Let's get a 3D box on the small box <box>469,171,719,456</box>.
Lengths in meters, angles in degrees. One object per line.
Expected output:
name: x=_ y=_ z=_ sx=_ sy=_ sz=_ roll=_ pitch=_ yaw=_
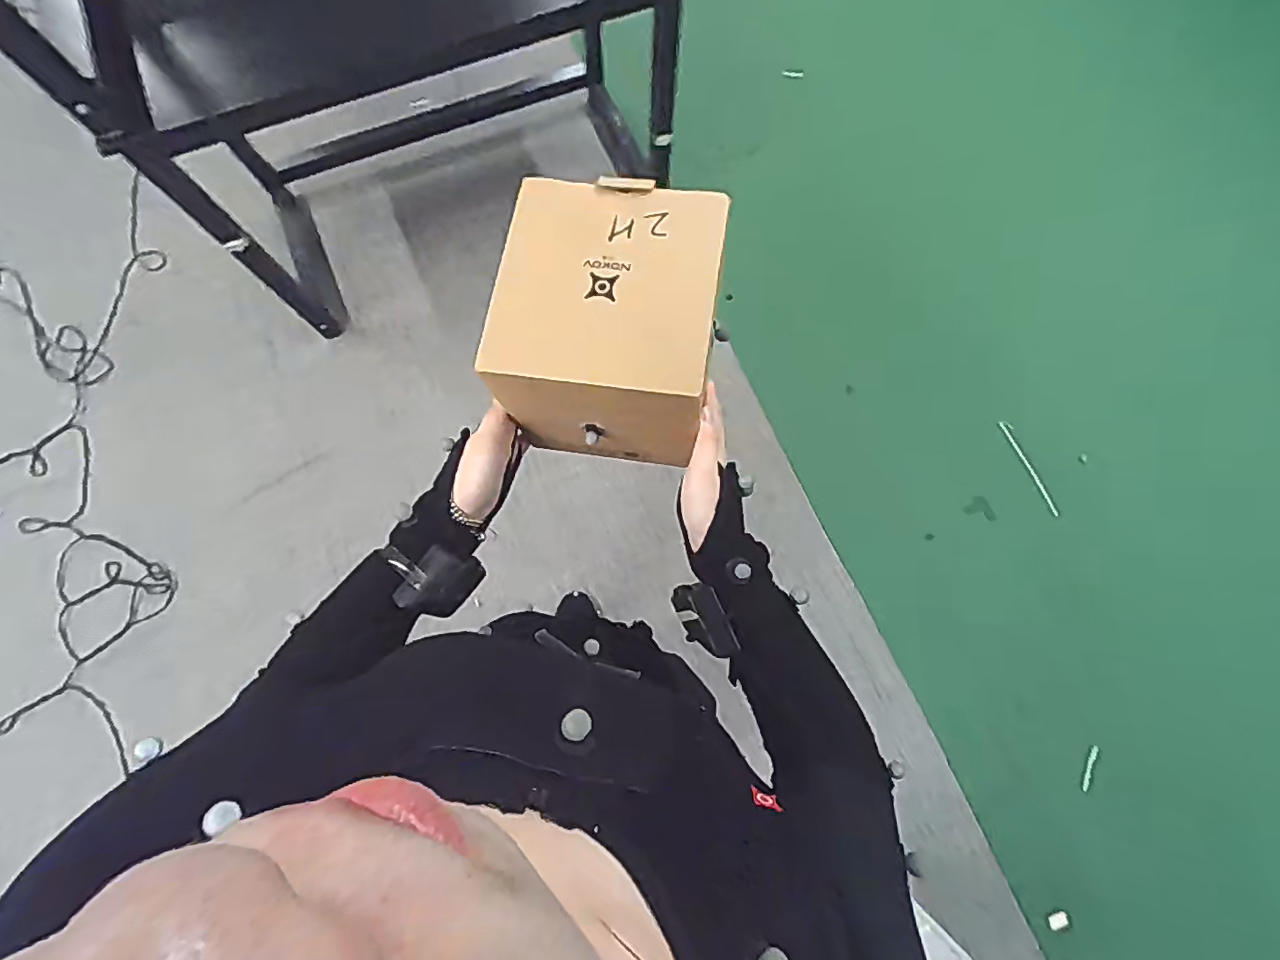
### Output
small box: x=-0.027 y=-0.133 z=0.481 sx=0.168 sy=0.176 sz=0.179 roll=8 pitch=74 yaw=5
